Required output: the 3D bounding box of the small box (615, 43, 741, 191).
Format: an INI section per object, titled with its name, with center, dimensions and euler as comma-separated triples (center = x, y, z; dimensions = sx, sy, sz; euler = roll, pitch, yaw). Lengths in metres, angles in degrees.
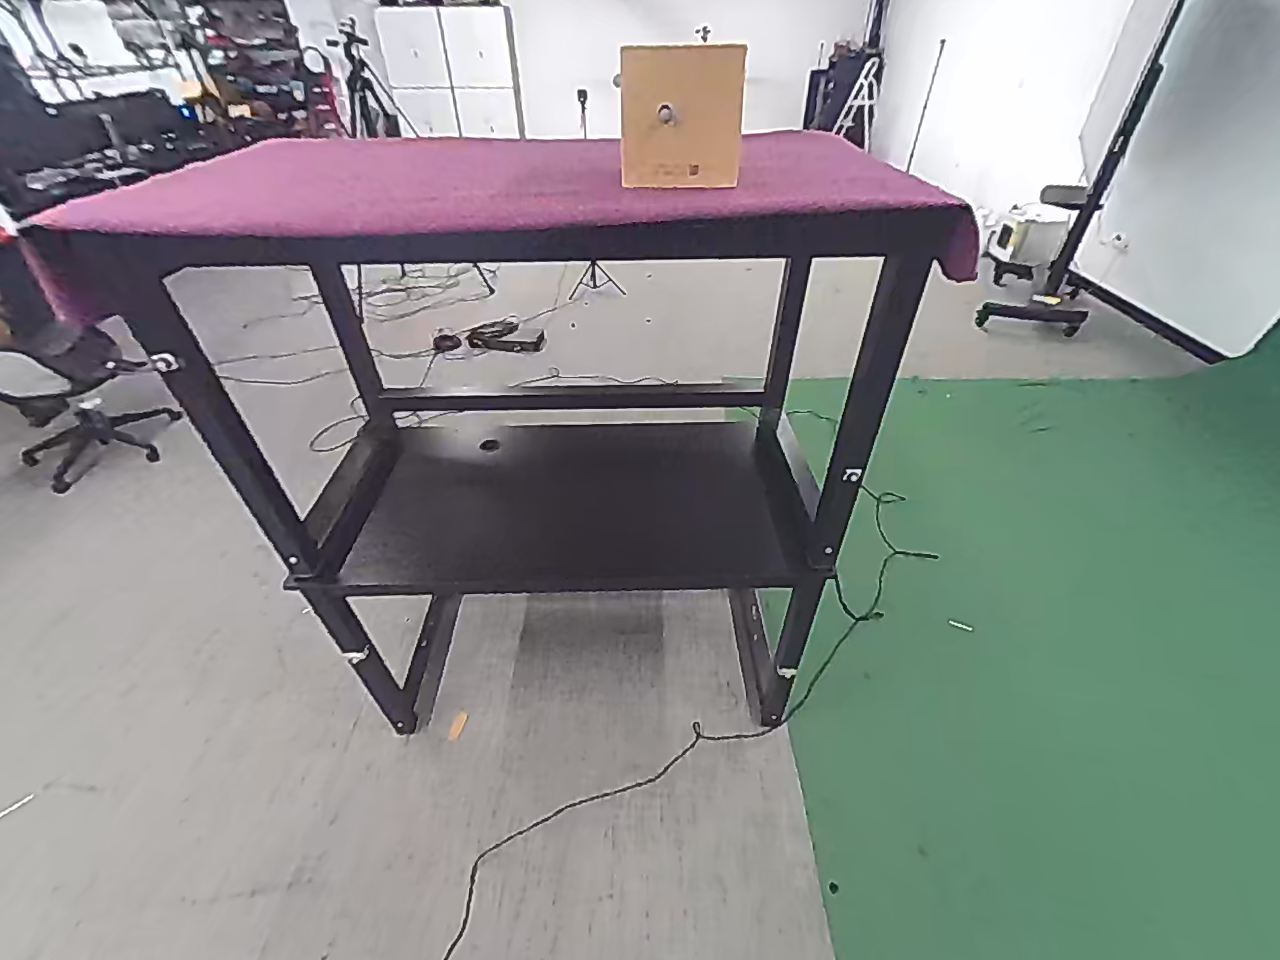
[small box]
center = 0.056, -0.536, 0.803
dimensions = 0.168, 0.176, 0.179
euler = 1, 38, 3
